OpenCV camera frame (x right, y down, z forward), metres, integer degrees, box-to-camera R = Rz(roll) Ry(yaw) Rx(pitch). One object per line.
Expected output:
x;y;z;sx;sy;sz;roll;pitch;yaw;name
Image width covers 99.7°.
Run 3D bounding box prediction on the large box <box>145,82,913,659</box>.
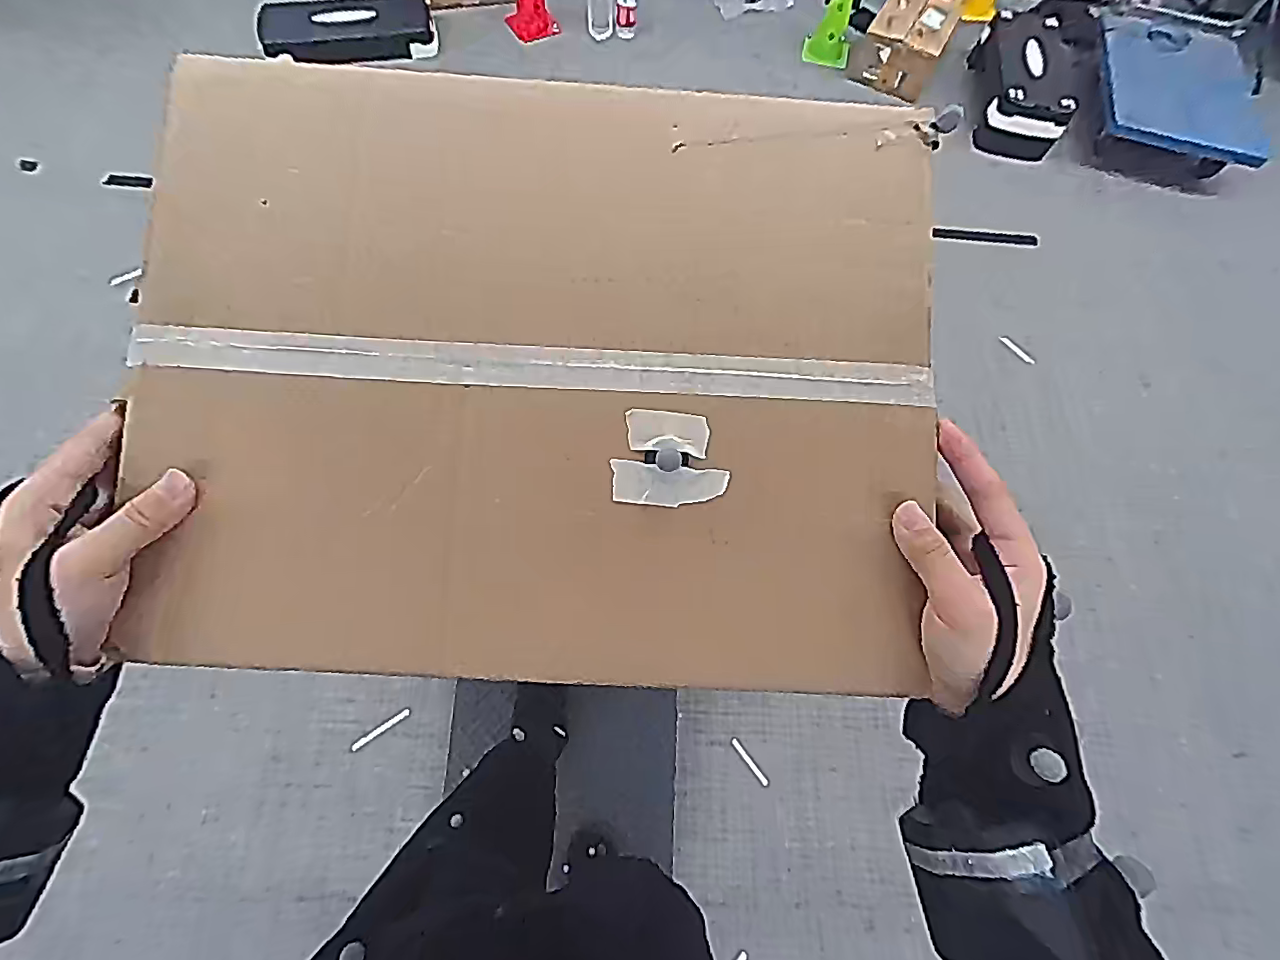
-0.054;-0.051;0.442;0.408;0.320;0.320;3;86;-2;large box
